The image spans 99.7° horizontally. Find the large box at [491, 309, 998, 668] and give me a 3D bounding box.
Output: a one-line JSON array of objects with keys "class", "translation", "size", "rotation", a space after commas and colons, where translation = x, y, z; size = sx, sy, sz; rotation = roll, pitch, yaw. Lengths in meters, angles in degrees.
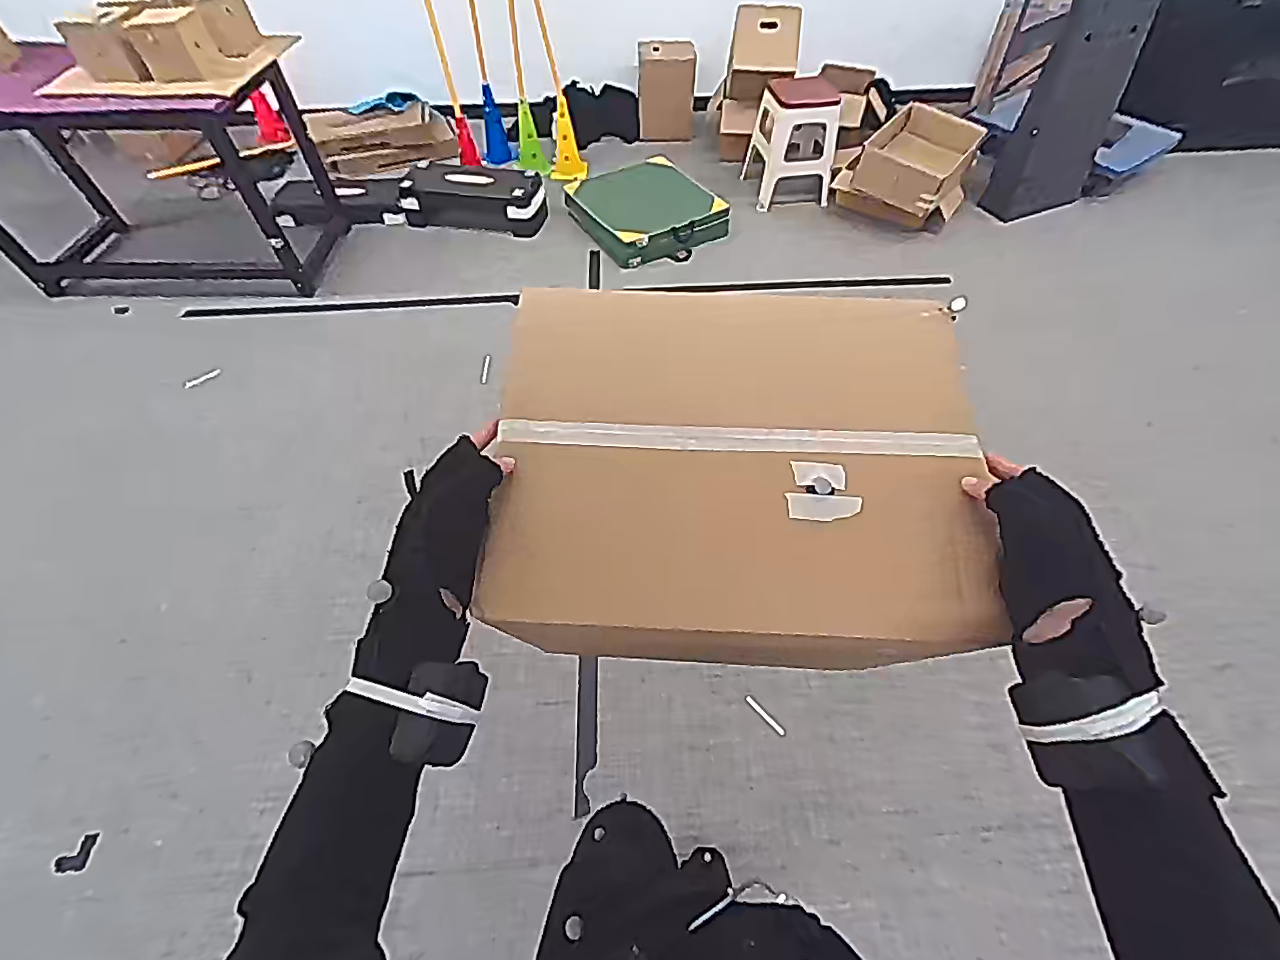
[{"class": "large box", "translation": [0.084, 0.034, 0.613], "size": [0.408, 0.320, 0.320], "rotation": [3, 68, 2]}]
